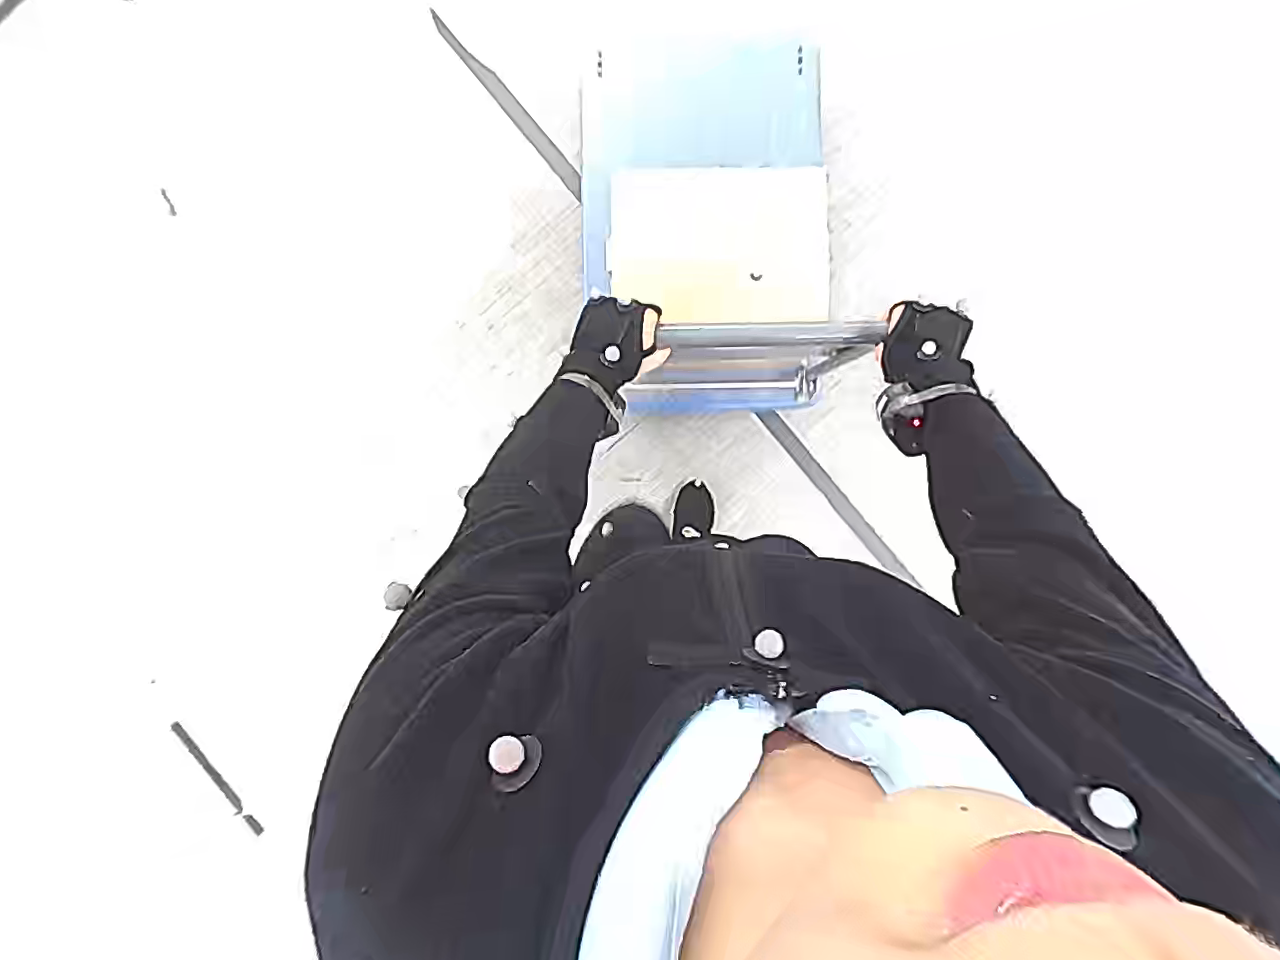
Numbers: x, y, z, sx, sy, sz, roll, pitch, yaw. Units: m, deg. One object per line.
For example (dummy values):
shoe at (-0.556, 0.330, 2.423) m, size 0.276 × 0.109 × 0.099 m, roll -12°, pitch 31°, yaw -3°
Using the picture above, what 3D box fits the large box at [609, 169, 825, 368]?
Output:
large box at (0.144, -0.426, 1.158) m, size 0.408 × 0.320 × 0.320 m, roll -1°, pitch 92°, yaw -1°
